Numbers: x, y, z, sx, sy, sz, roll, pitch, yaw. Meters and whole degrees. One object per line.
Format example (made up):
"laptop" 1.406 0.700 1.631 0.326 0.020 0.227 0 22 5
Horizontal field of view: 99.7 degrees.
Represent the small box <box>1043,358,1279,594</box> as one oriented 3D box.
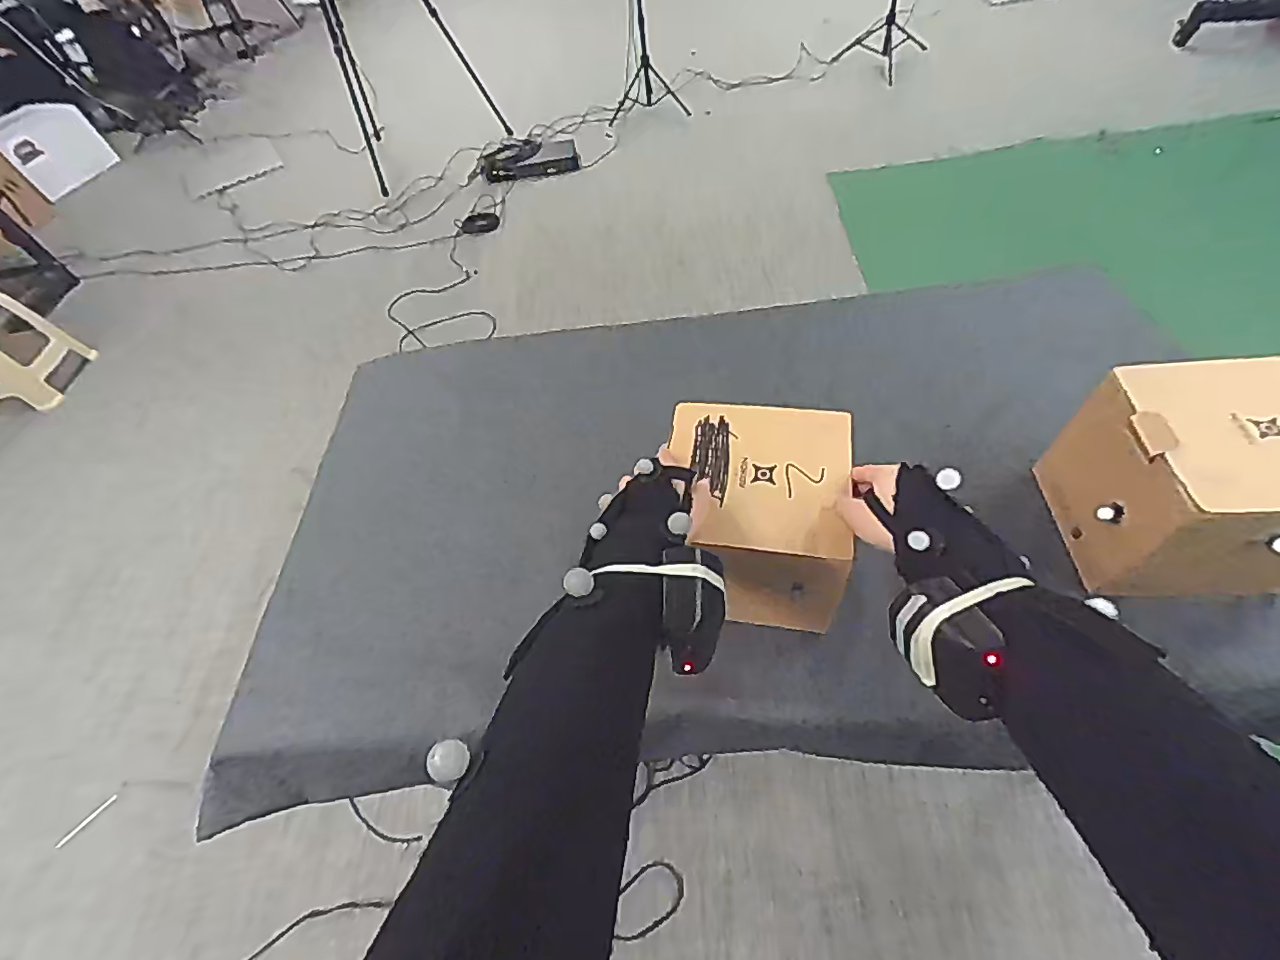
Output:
"small box" 0.535 0.004 0.525 0.179 0.176 0.168 -1 56 8
